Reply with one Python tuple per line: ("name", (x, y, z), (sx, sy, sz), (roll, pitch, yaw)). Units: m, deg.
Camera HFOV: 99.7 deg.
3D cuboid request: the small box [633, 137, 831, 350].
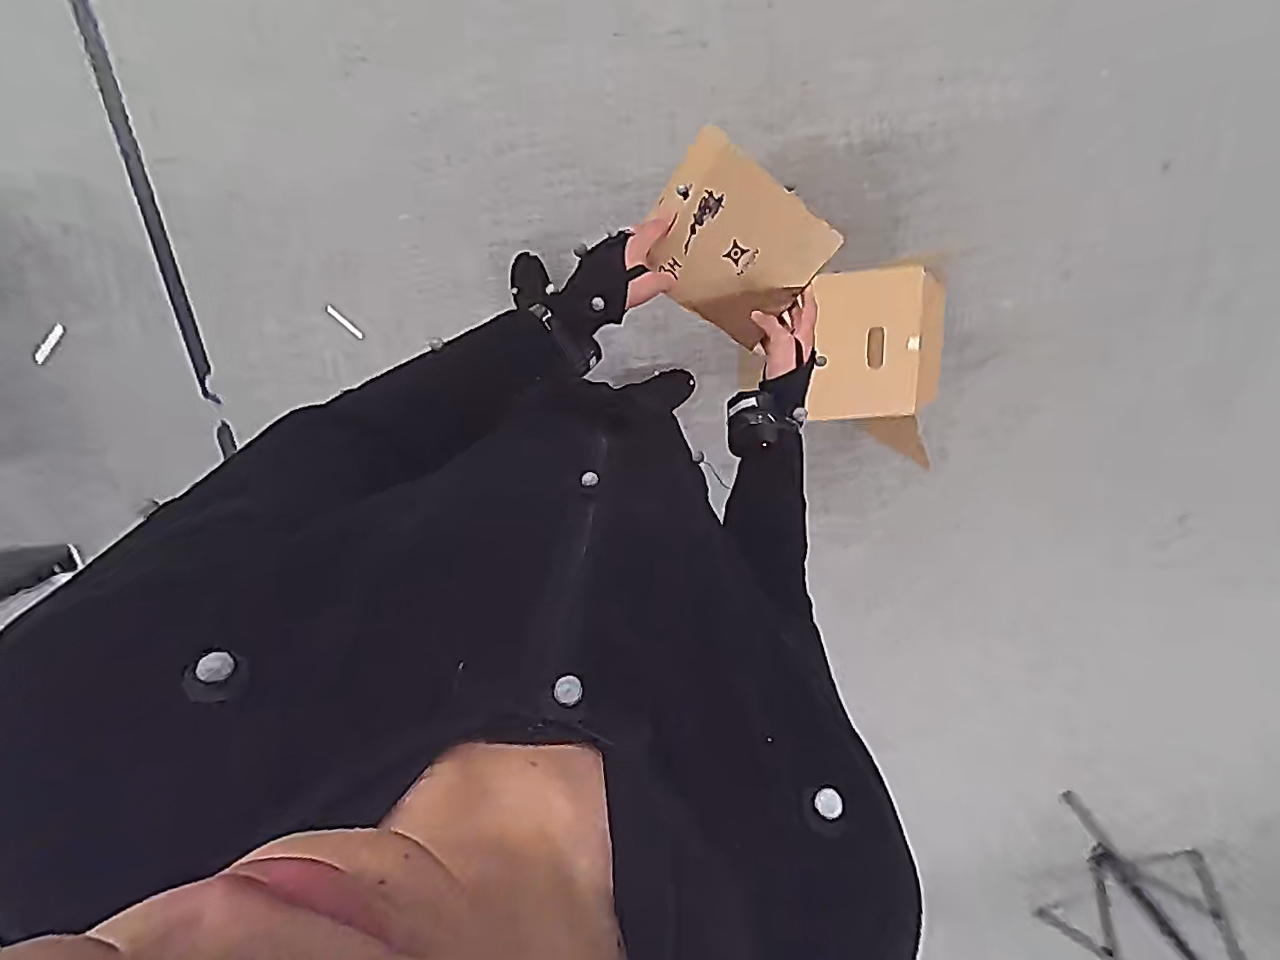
("small box", (0.106, -0.307, 0.696), (0.179, 0.176, 0.168), (26, 124, -21))
